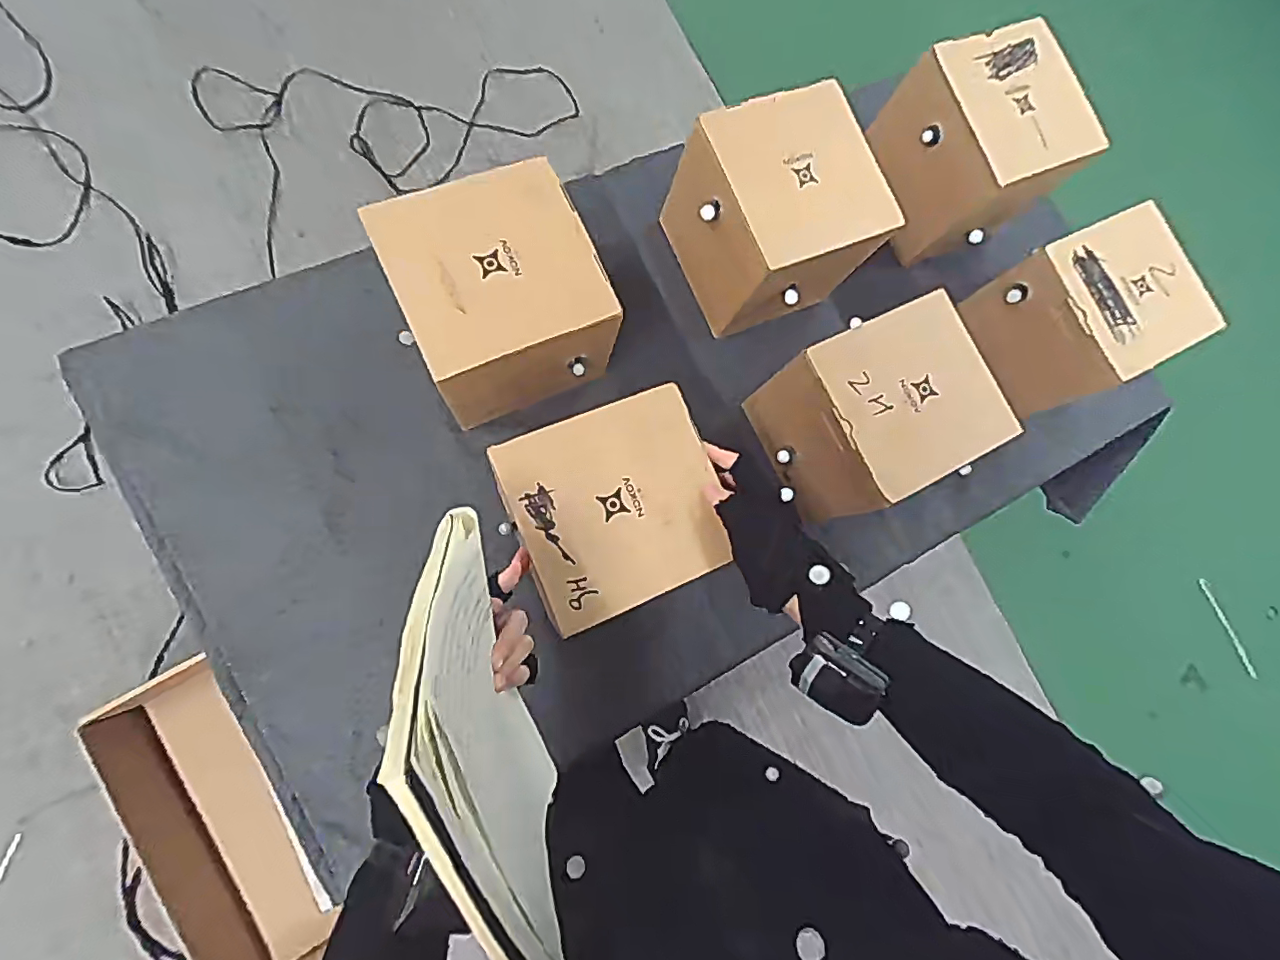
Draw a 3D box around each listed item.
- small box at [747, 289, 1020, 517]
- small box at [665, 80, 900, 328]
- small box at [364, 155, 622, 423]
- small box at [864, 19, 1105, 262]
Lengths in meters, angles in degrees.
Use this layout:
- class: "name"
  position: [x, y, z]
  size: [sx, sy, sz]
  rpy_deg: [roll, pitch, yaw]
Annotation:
- class: "small box"
  position: [0.249, -0.072, 0.593]
  size: [0.179, 0.176, 0.168]
  rpy_deg: [-25, 85, -14]
- class: "small box"
  position: [0.147, -0.295, 0.616]
  size: [0.168, 0.176, 0.179]
  rpy_deg: [-23, 85, -12]
- class: "small box"
  position: [-0.139, -0.177, 0.543]
  size: [0.179, 0.176, 0.168]
  rpy_deg: [-23, 85, -13]
- class: "small box"
  position: [0.405, -0.411, 0.677]
  size: [0.168, 0.176, 0.179]
  rpy_deg: [-23, 86, -12]
